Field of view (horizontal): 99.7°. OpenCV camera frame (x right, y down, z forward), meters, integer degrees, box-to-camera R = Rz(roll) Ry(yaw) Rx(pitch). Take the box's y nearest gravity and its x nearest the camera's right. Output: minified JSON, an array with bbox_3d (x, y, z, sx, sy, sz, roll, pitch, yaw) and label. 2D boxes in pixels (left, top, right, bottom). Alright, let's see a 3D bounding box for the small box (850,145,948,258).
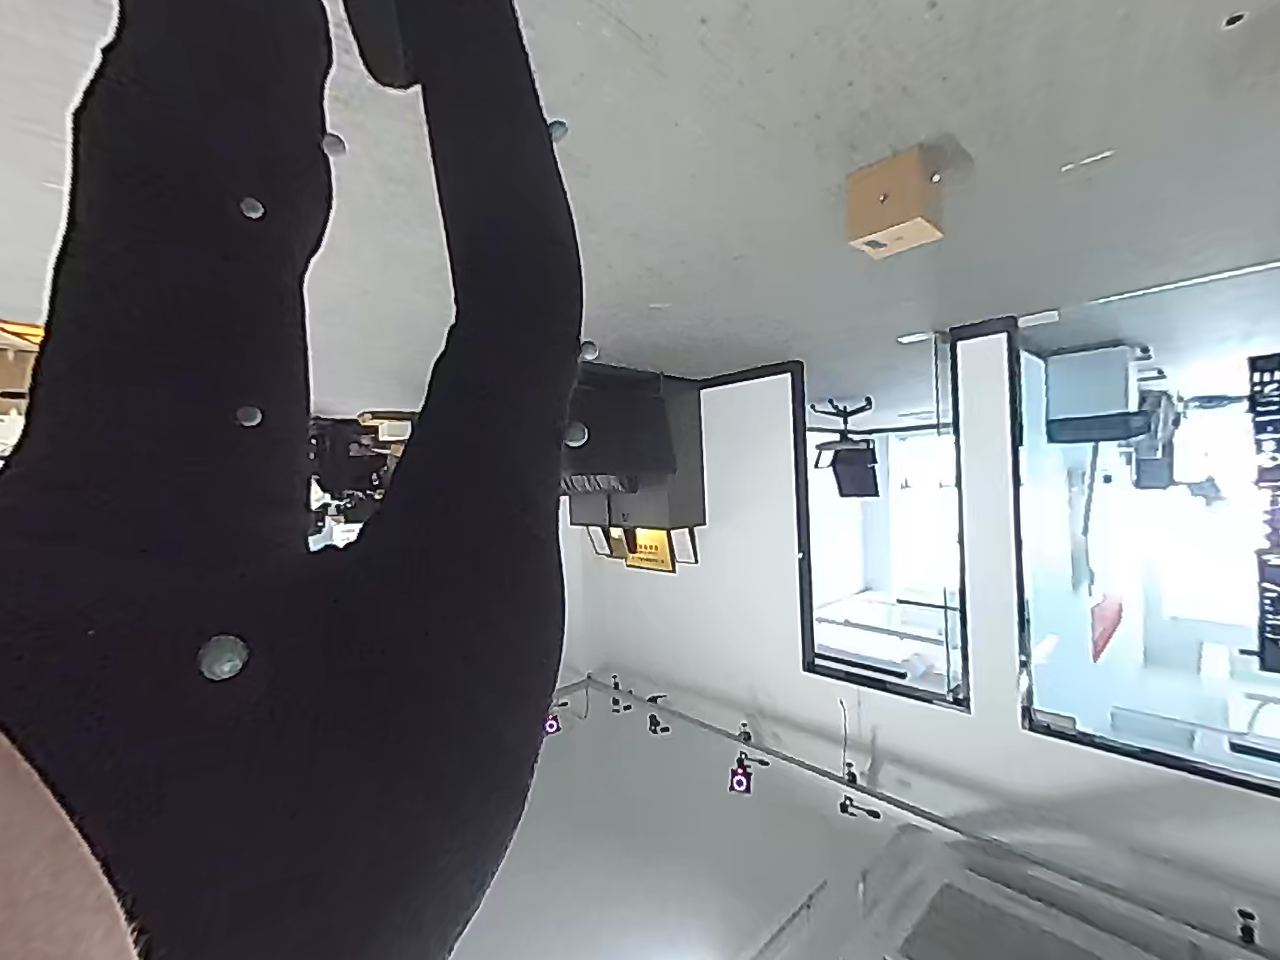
[{"bbox_3d":[0.633,-0.673,1.324,0.168,0.176,0.179,-3,180,-42],"label":"small box"}]
